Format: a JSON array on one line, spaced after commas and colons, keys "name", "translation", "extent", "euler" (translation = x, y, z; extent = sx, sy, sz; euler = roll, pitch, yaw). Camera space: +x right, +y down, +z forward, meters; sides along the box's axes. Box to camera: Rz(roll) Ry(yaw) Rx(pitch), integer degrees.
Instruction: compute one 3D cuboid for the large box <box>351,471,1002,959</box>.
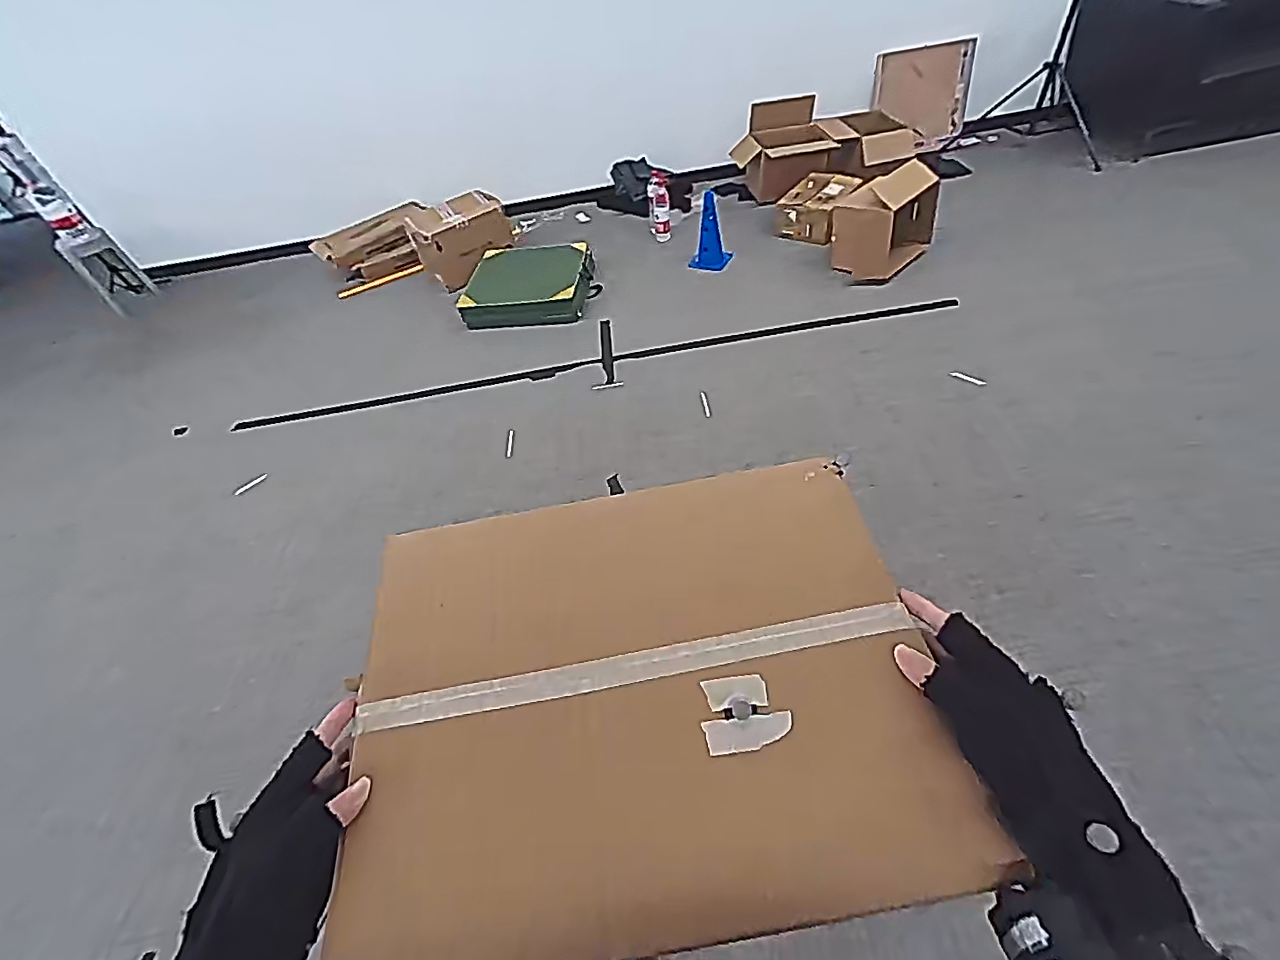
[{"name": "large box", "translation": [0.014, 0.235, 0.524], "extent": [0.408, 0.320, 0.320], "euler": [-10, 53, -1]}]
